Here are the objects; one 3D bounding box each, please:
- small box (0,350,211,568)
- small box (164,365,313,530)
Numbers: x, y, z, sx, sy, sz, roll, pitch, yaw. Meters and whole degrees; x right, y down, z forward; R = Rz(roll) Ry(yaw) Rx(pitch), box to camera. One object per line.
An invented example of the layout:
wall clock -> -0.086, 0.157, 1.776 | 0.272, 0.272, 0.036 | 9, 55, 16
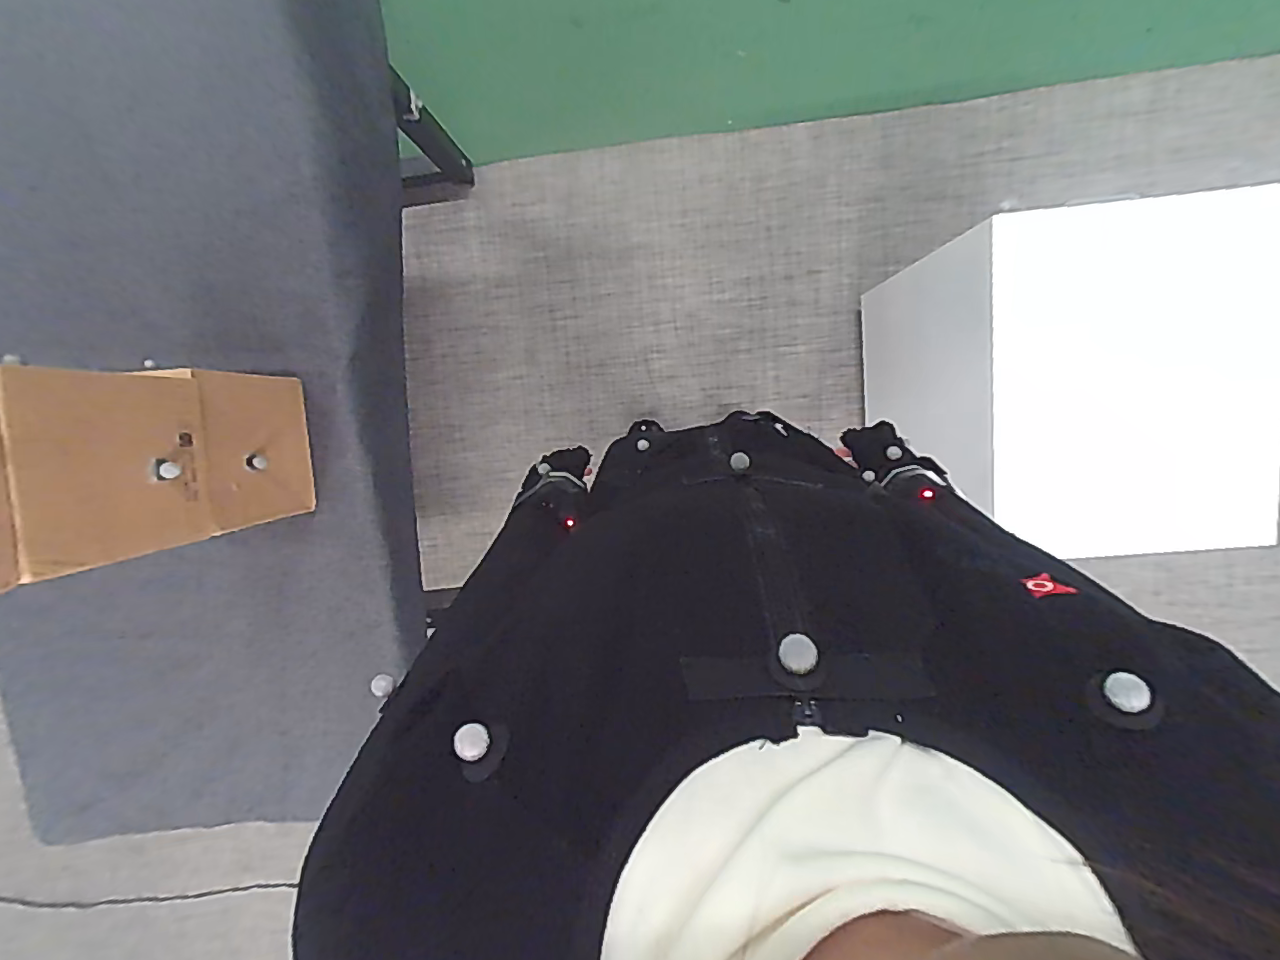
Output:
small box -> -0.546, -0.022, 0.490 | 0.179, 0.176, 0.168 | -2, 97, 6
small box -> -0.529, -0.044, 0.652 | 0.168, 0.176, 0.179 | -2, 98, 5
